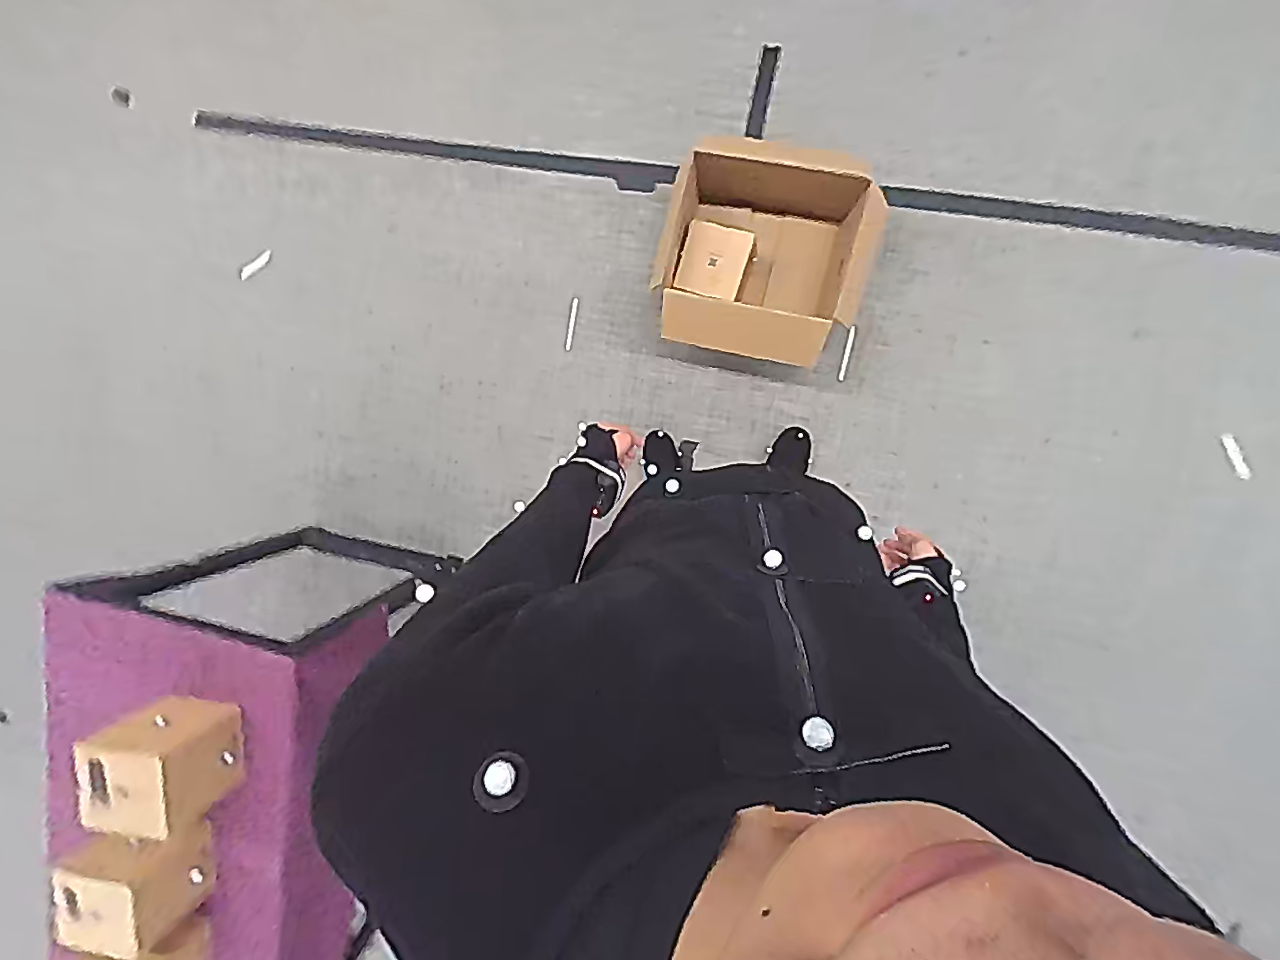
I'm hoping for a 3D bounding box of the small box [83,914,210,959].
[{"bbox_3d":[-1.055,1.049,1.141,0.179,0.176,0.168,10,99,8],"label":"small box"}]

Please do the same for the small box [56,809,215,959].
[{"bbox_3d":[-1.020,0.812,1.104,0.179,0.176,0.168,6,99,7],"label":"small box"}]
